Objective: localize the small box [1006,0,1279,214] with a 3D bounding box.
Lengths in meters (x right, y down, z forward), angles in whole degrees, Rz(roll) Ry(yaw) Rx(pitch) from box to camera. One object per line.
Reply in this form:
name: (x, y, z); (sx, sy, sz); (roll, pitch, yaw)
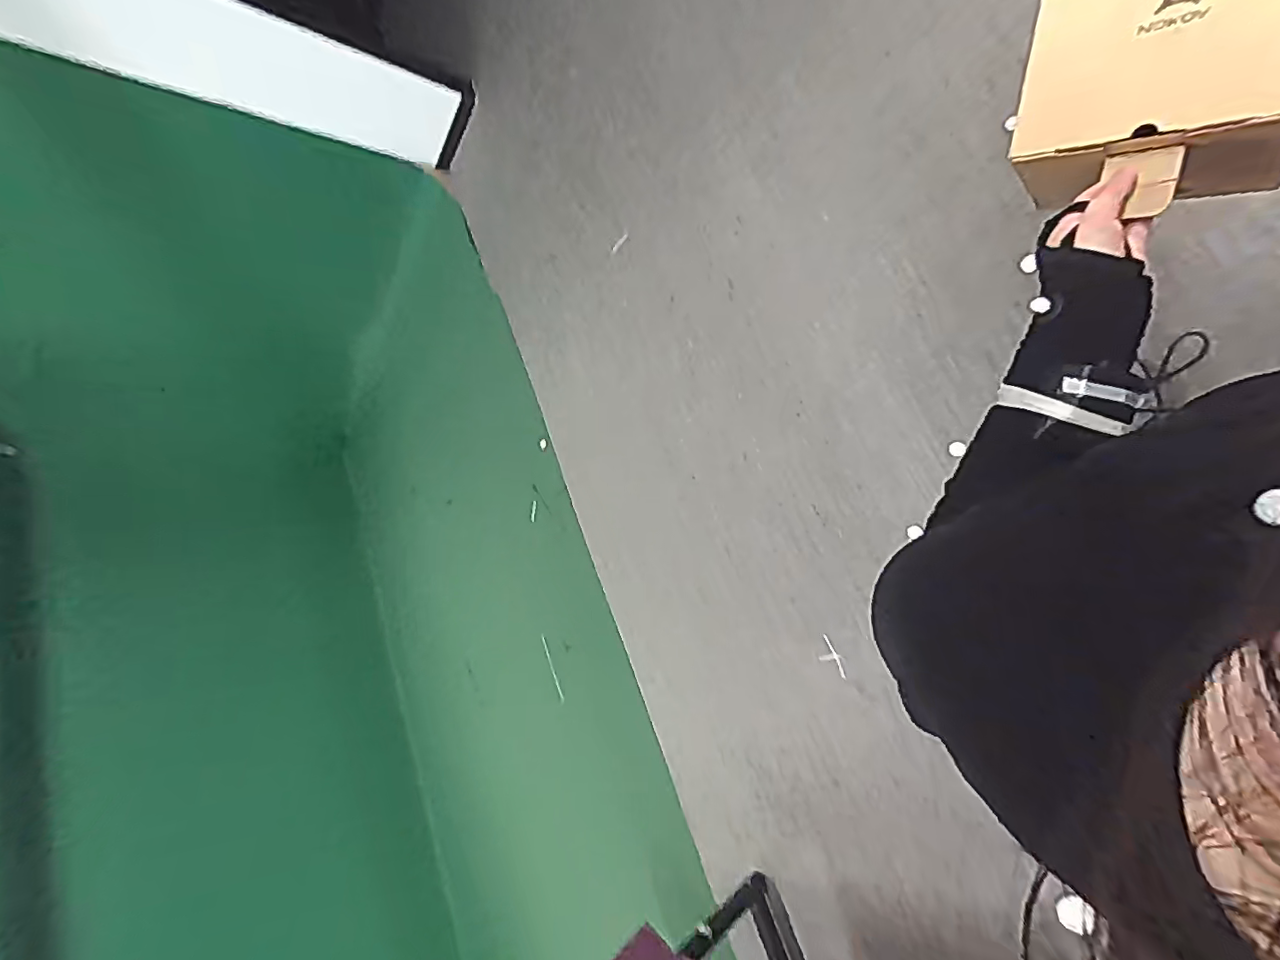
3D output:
small box: (0.424, -0.339, 0.439); (0.168, 0.176, 0.179); (14, 107, 41)
